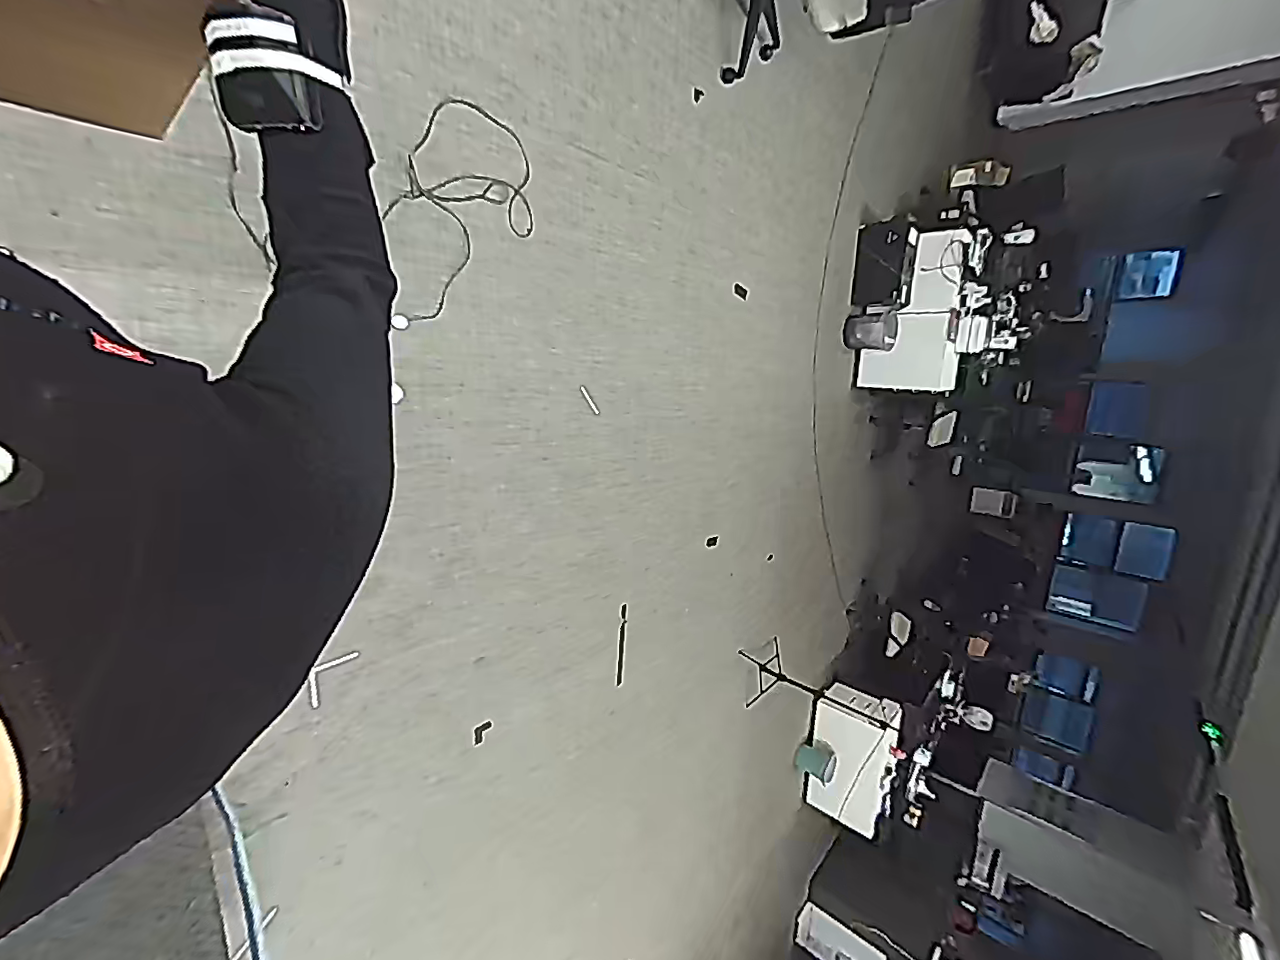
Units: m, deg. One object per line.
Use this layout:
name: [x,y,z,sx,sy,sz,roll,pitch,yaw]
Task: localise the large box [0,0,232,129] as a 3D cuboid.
large box: [-0.495,-0.445,0.264,0.408,0.320,0.320,-13,106,-48]
